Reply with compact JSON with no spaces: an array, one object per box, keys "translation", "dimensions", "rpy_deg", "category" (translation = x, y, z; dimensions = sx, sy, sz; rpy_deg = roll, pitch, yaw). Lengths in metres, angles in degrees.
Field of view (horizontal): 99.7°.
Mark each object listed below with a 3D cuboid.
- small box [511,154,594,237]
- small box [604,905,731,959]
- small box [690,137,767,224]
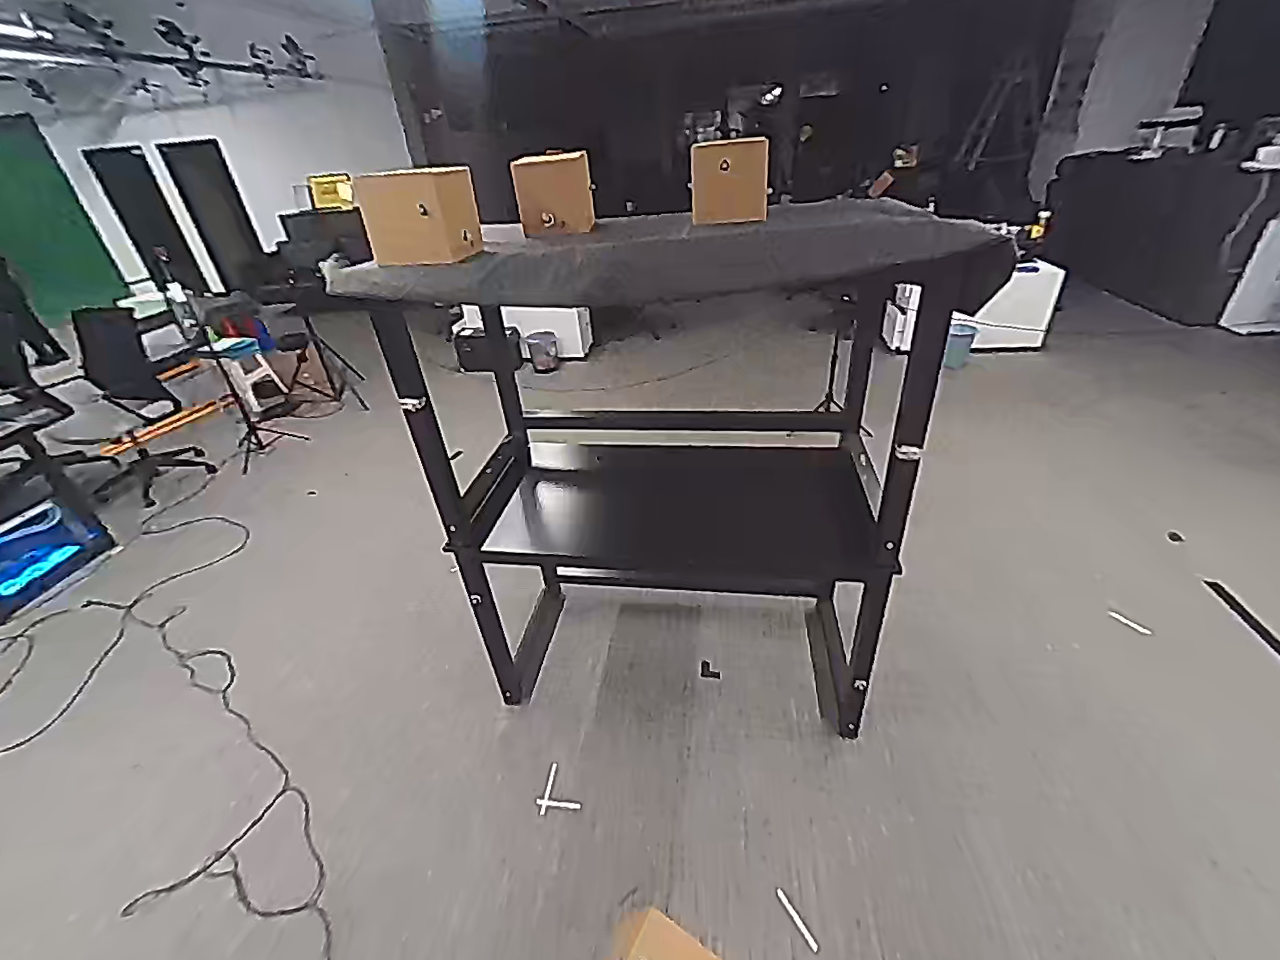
[{"translation":[-0.213,-0.723,1.373],"dimensions":[0.168,0.176,0.179],"rpy_deg":[-4,33,5],"category":"small box"},{"translation":[0.031,0.600,0.574],"dimensions":[0.179,0.176,0.168],"rpy_deg":[31,46,13],"category":"small box"},{"translation":[0.217,-0.730,1.319],"dimensions":[0.179,0.176,0.168],"rpy_deg":[1,34,10],"category":"small box"}]
